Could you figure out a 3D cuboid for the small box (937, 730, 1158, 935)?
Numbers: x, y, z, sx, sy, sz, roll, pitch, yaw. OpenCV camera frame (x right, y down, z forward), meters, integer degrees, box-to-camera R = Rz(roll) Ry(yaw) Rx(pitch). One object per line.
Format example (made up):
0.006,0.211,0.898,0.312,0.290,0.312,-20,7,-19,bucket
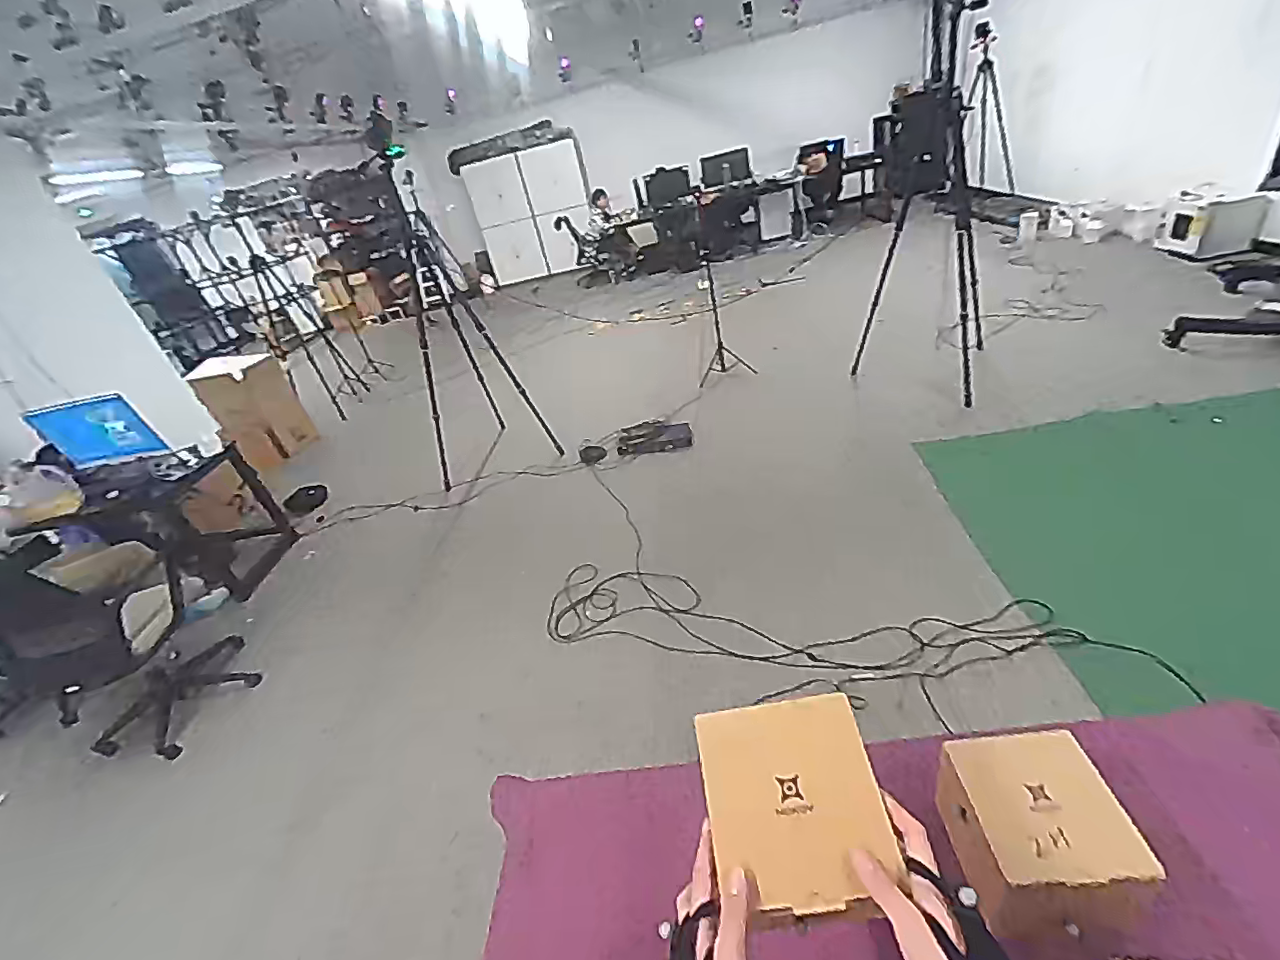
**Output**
0.515,0.466,0.720,0.168,0.176,0.179,-11,33,10,small box

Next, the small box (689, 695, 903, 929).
0.152,0.358,0.580,0.168,0.176,0.179,-12,48,5,small box
